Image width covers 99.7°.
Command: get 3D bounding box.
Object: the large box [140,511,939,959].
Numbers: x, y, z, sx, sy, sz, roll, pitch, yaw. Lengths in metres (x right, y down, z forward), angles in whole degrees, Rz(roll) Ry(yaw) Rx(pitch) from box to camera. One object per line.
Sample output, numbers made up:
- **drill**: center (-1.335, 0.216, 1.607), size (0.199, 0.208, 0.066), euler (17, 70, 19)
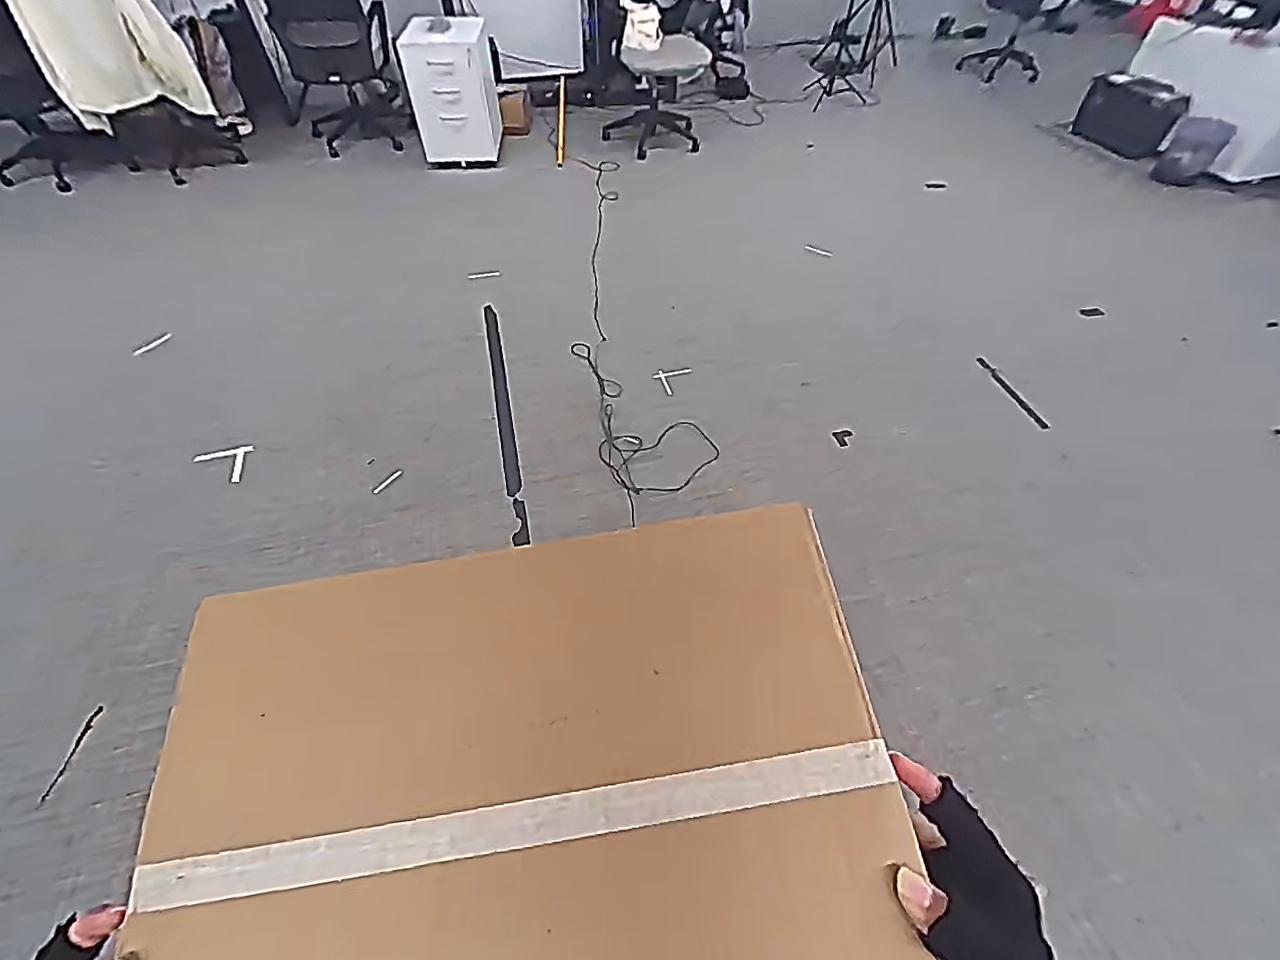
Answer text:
- **large box**: center (-0.054, 0.254, 0.429), size (0.408, 0.320, 0.320), euler (-9, 61, 0)
